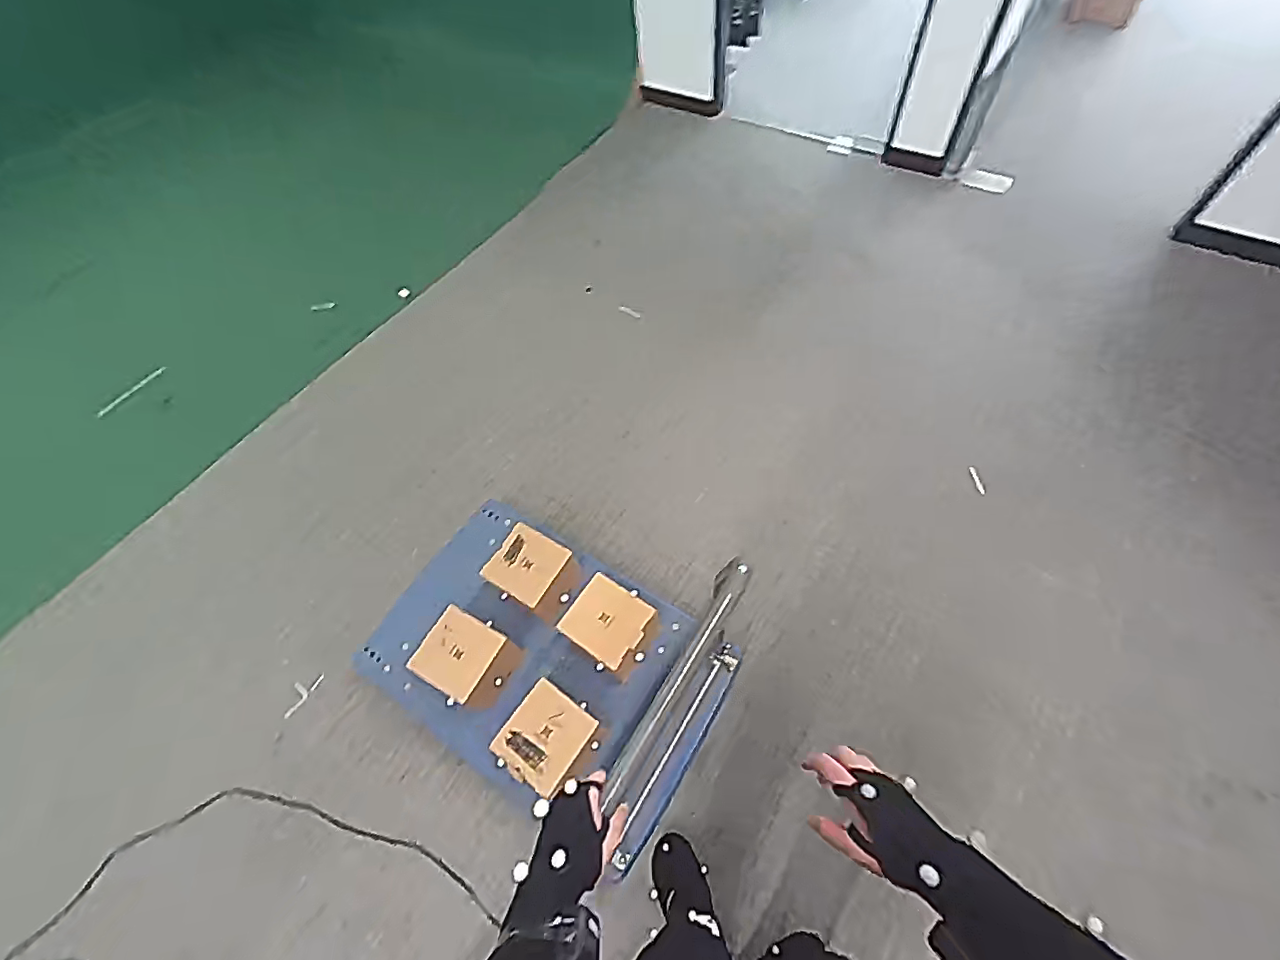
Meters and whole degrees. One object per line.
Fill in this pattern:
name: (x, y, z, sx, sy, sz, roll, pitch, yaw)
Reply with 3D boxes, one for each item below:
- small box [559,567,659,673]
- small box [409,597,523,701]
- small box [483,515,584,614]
small box: (-0.068, 0.348, 1.323, 0.179, 0.176, 0.168, 31, 68, 20)
small box: (-0.411, 0.416, 1.312, 0.179, 0.176, 0.168, 26, 65, 18)
small box: (-0.269, 0.227, 1.406, 0.179, 0.176, 0.168, 28, 67, 18)
